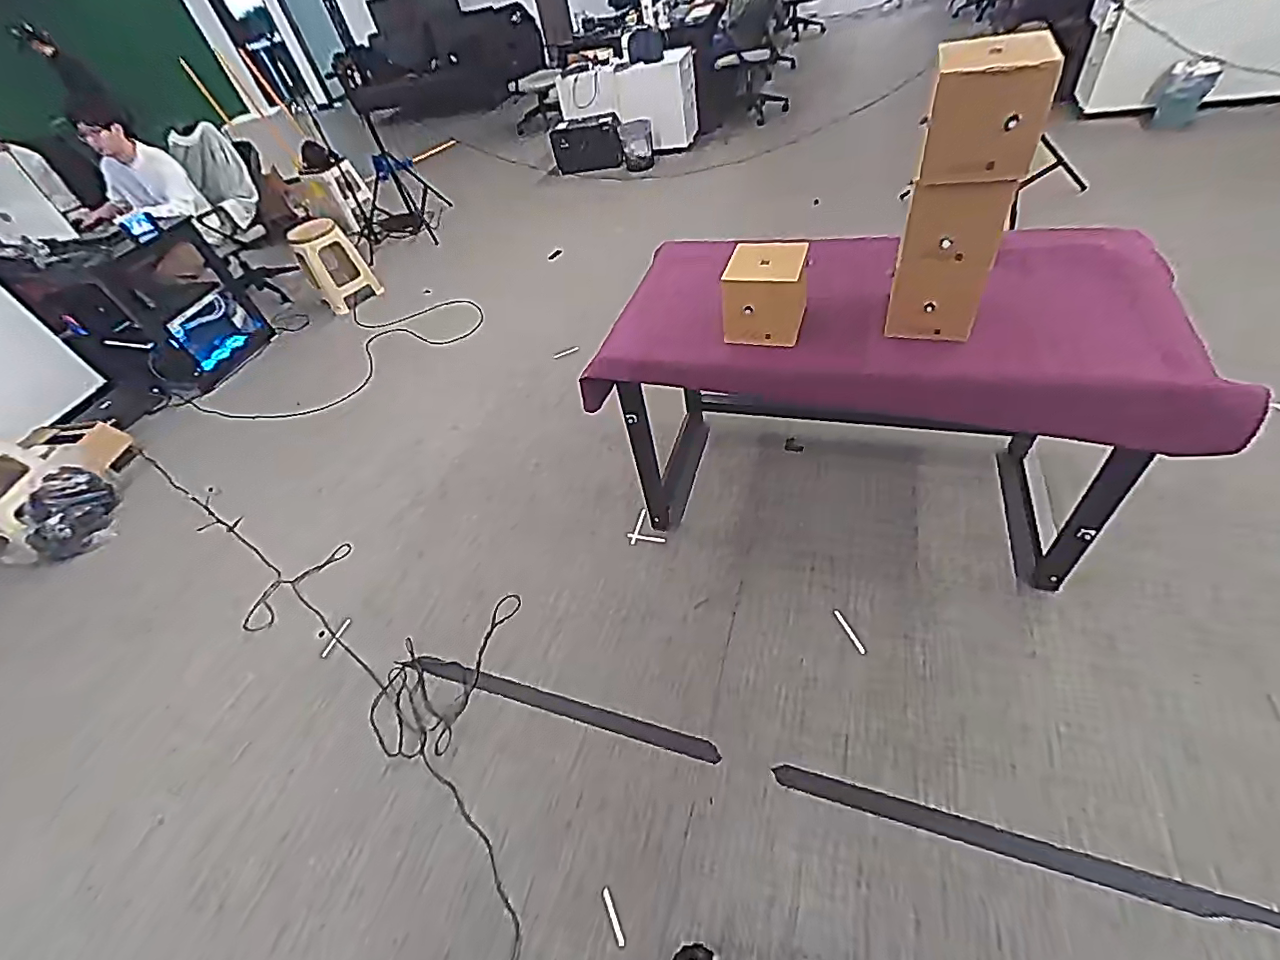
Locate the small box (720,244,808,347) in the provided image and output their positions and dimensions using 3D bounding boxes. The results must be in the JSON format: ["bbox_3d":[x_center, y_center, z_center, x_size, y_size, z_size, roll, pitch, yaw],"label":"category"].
[{"bbox_3d":[0.292,-0.428,1.261,0.168,0.176,0.179,9,50,20],"label":"small box"}]

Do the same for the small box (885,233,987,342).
[{"bbox_3d":[0.637,-0.419,1.172,0.168,0.176,0.179,10,51,21],"label":"small box"}]

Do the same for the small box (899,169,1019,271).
[{"bbox_3d":[0.613,-0.530,1.054,0.168,0.176,0.179,10,52,21],"label":"small box"}]

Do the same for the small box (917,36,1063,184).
[{"bbox_3d":[0.581,-0.622,0.922,0.168,0.176,0.179,8,50,18],"label":"small box"}]
